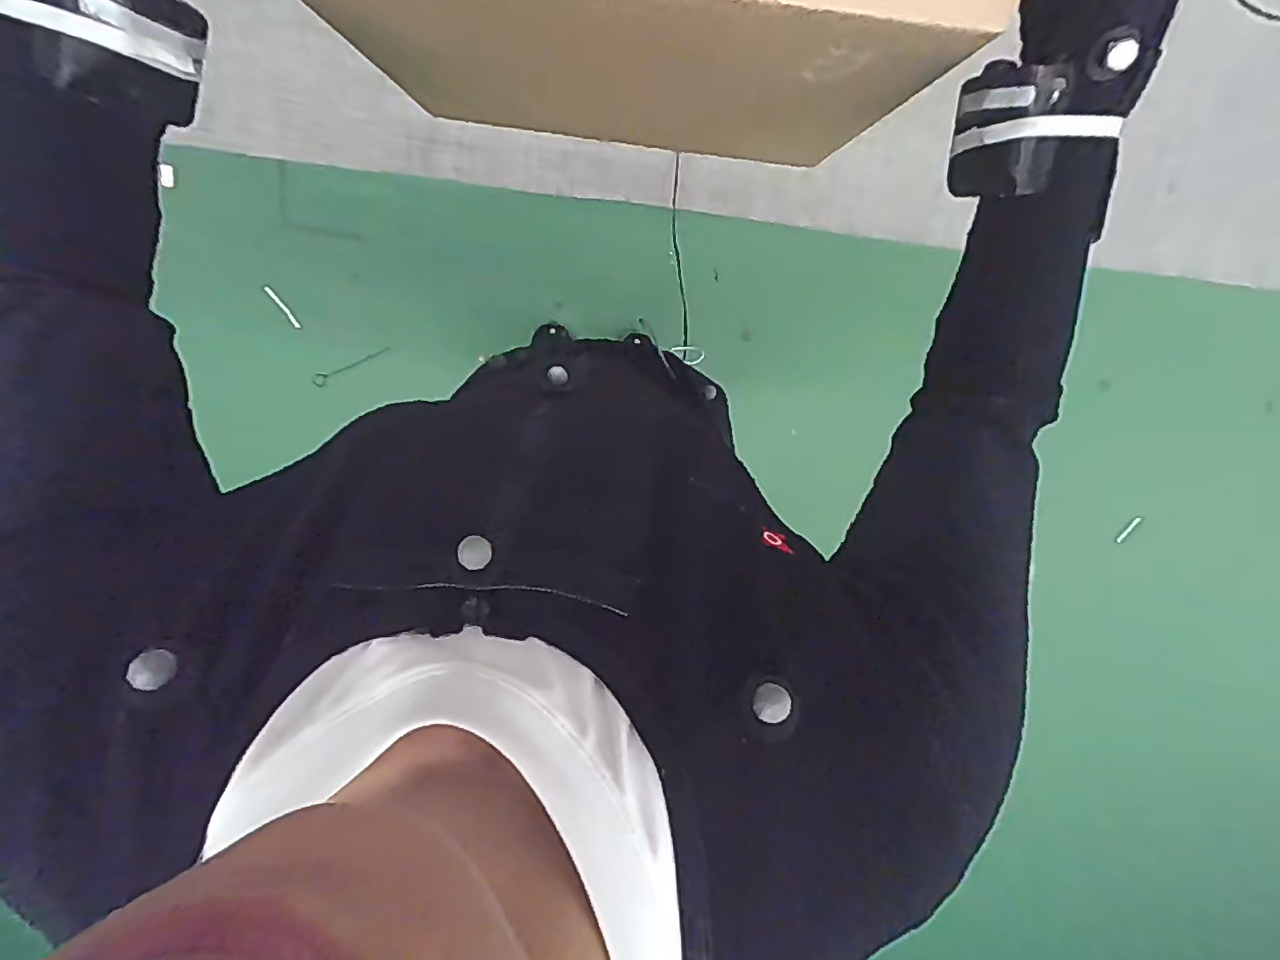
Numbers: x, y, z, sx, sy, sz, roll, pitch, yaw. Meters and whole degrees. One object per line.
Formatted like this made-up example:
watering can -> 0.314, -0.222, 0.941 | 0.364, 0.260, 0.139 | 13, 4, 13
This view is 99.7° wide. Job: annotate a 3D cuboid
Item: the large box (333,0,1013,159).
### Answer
large box -> 0.011, -0.451, 0.377 | 0.408, 0.320, 0.320 | 5, 109, -4
